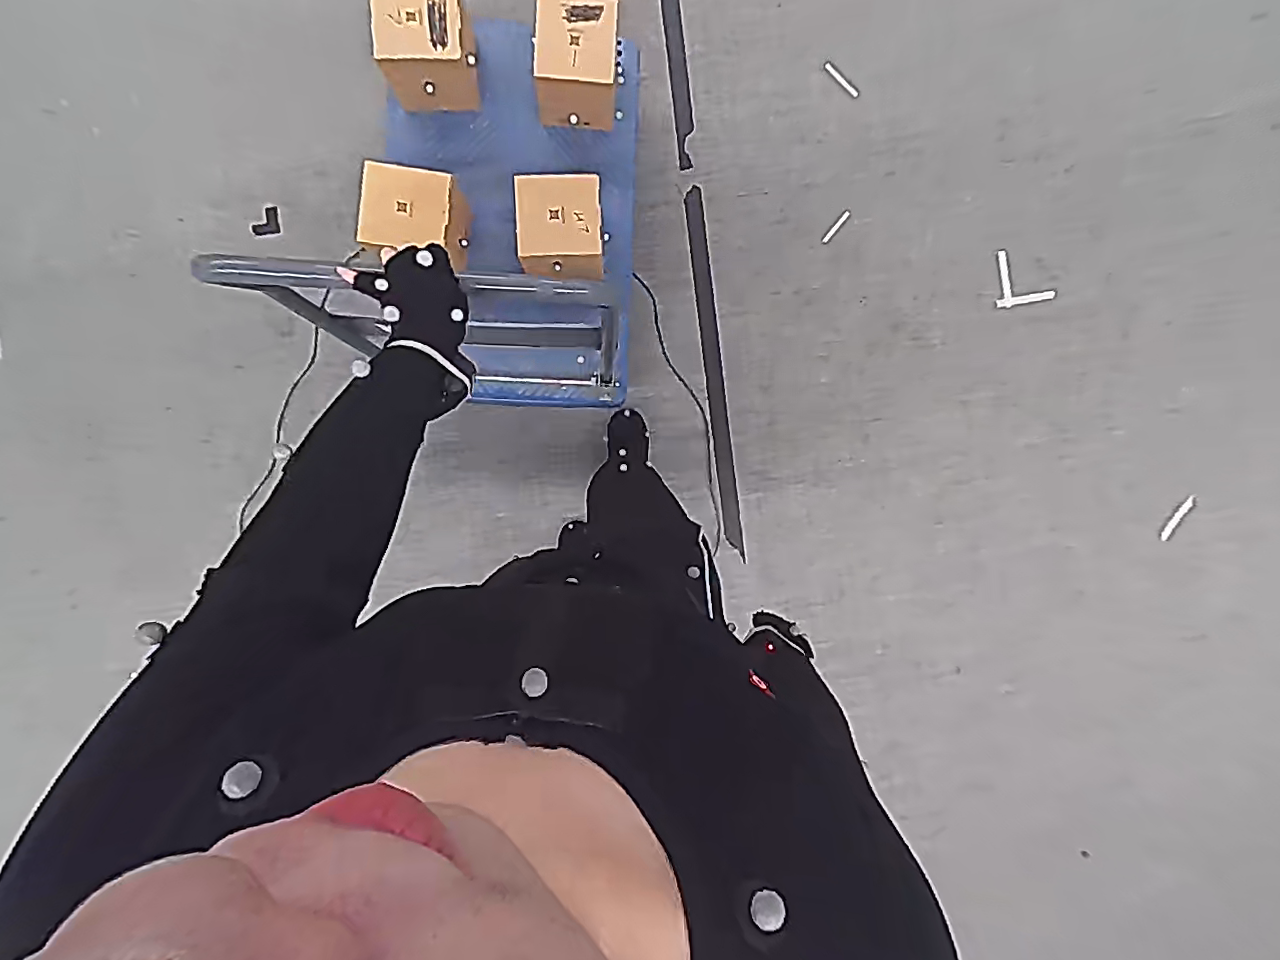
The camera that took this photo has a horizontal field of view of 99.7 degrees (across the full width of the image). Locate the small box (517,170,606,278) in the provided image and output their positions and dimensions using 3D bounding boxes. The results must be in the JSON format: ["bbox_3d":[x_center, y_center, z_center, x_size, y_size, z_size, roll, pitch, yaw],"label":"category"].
[{"bbox_3d":[-0.166,-0.554,1.188,0.179,0.176,0.168,-2,93,-3],"label":"small box"}]

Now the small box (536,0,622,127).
[{"bbox_3d":[-0.129,-0.912,1.174,0.168,0.176,0.179,3,94,-3],"label":"small box"}]

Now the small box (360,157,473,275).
[{"bbox_3d":[-0.476,-0.560,1.171,0.179,0.176,0.168,6,92,-5],"label":"small box"}]
